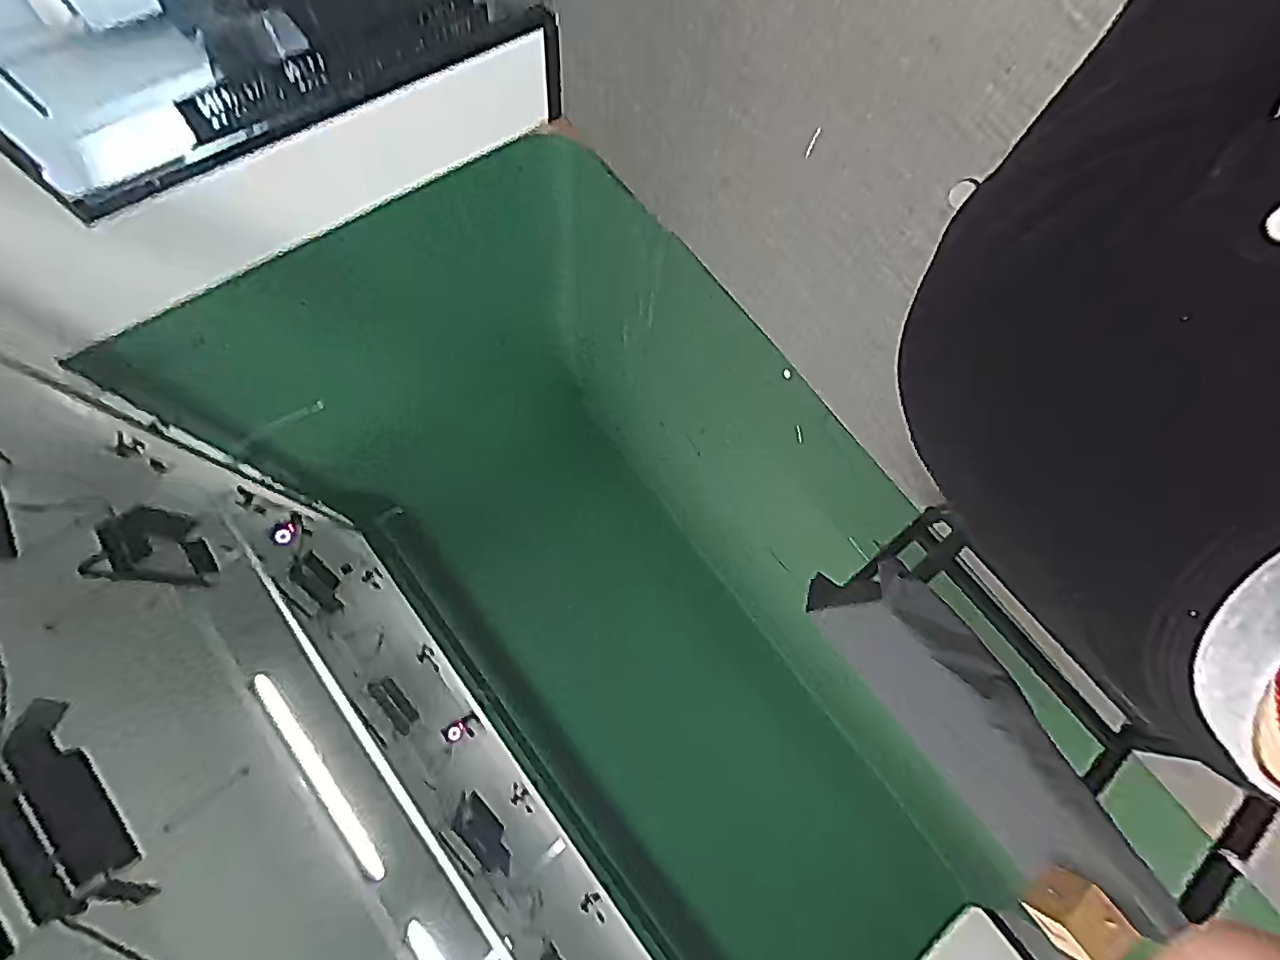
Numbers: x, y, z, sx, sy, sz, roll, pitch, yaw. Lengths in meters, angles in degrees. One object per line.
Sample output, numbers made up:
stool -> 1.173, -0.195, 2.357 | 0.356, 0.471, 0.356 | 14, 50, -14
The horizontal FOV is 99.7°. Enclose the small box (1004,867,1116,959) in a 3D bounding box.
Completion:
small box -> 1.288, 1.341, 1.661 | 0.168, 0.176, 0.179 | 51, 164, 10
